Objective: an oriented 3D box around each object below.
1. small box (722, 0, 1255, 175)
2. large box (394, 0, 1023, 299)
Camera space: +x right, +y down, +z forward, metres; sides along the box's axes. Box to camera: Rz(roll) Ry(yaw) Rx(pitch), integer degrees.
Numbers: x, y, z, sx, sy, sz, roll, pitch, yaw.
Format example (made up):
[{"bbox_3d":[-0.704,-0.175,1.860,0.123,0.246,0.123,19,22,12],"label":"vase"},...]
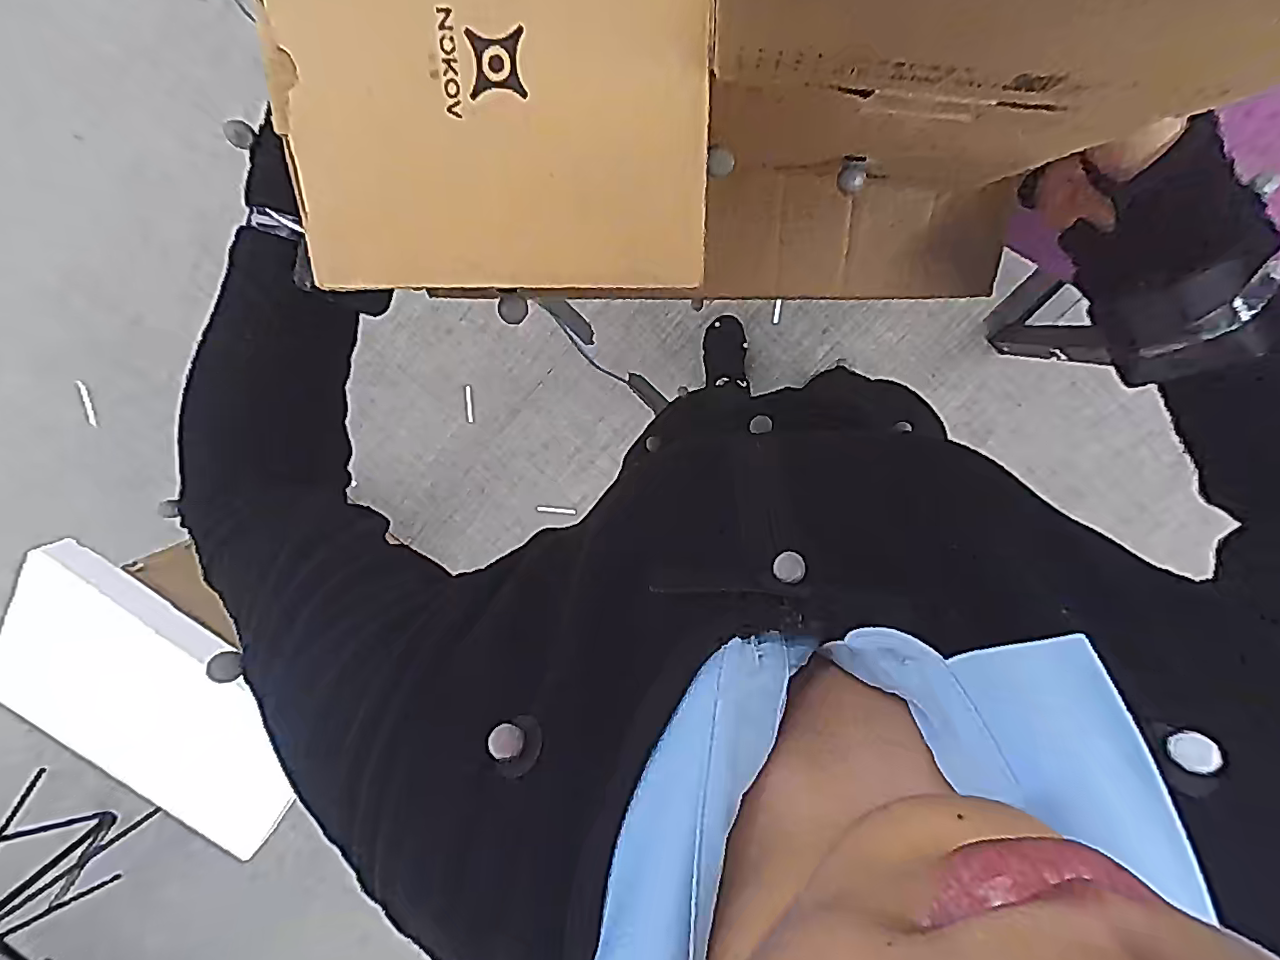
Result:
[{"bbox_3d":[0.129,-0.250,0.228,0.168,0.176,0.179,8,111,4],"label":"small box"},{"bbox_3d":[0.058,-0.331,0.470,0.408,0.320,0.320,1,109,7],"label":"large box"}]
